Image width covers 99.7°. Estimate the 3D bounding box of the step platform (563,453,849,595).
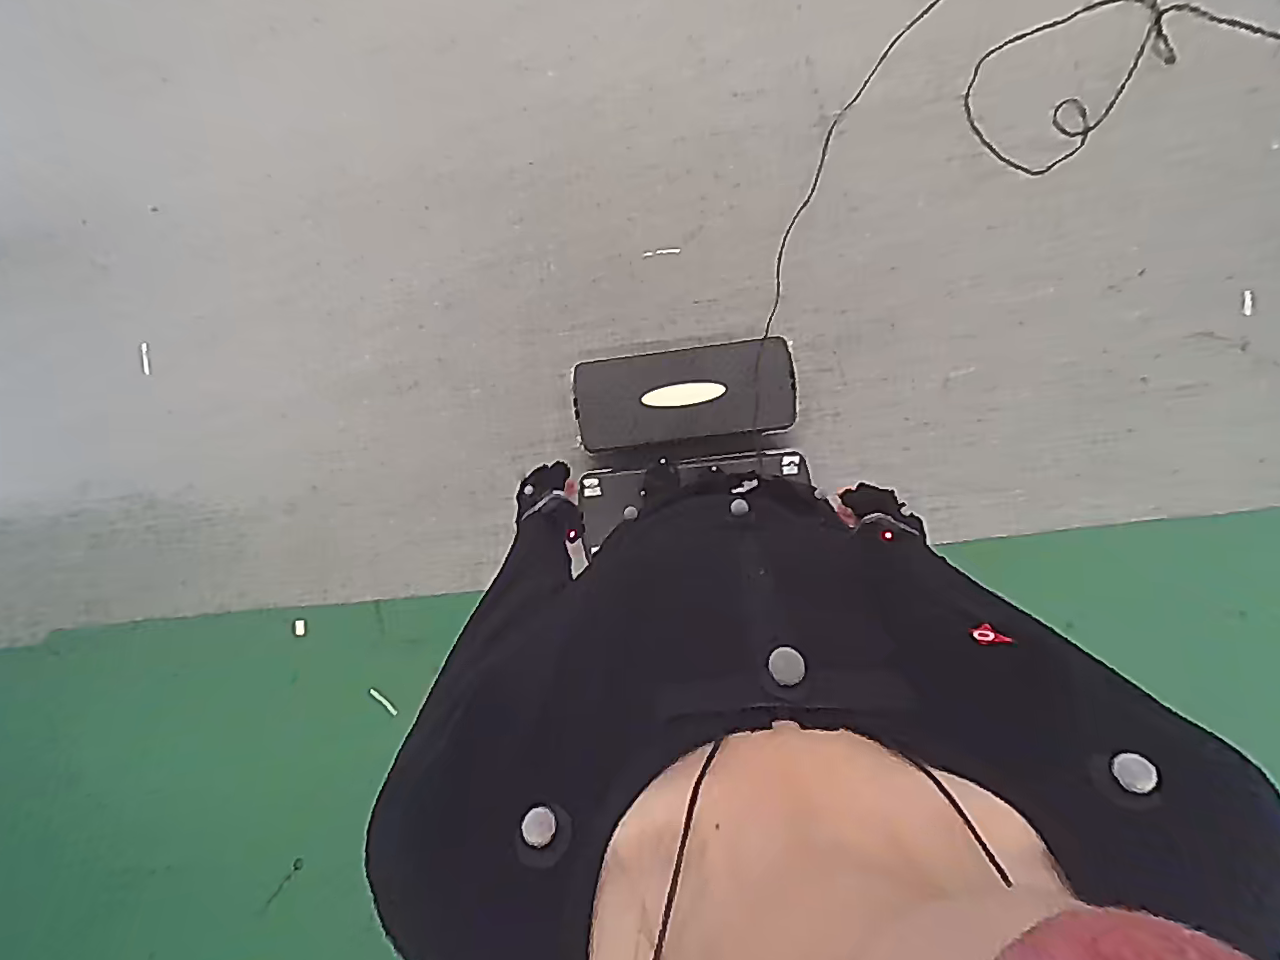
[{"bbox_3d":[0.157,0.109,1.388,0.684,0.204,0.286,-7,91,3],"label":"step platform"}]
